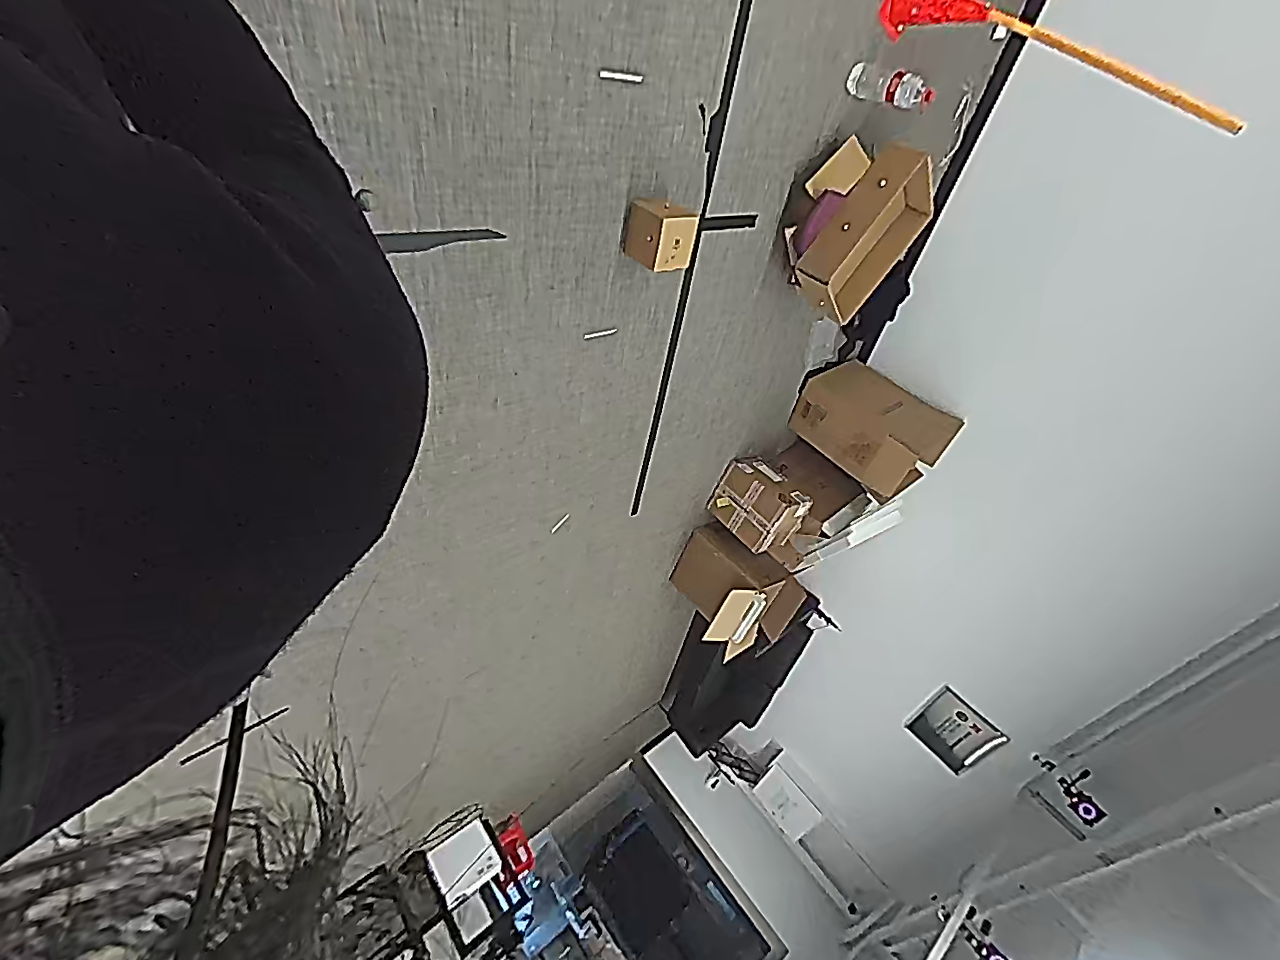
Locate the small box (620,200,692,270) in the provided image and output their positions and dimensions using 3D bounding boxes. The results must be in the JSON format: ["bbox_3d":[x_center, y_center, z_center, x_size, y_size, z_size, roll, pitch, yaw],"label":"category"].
[{"bbox_3d":[0.048,-0.843,1.849,0.168,0.176,0.179,-22,142,-35],"label":"small box"}]
